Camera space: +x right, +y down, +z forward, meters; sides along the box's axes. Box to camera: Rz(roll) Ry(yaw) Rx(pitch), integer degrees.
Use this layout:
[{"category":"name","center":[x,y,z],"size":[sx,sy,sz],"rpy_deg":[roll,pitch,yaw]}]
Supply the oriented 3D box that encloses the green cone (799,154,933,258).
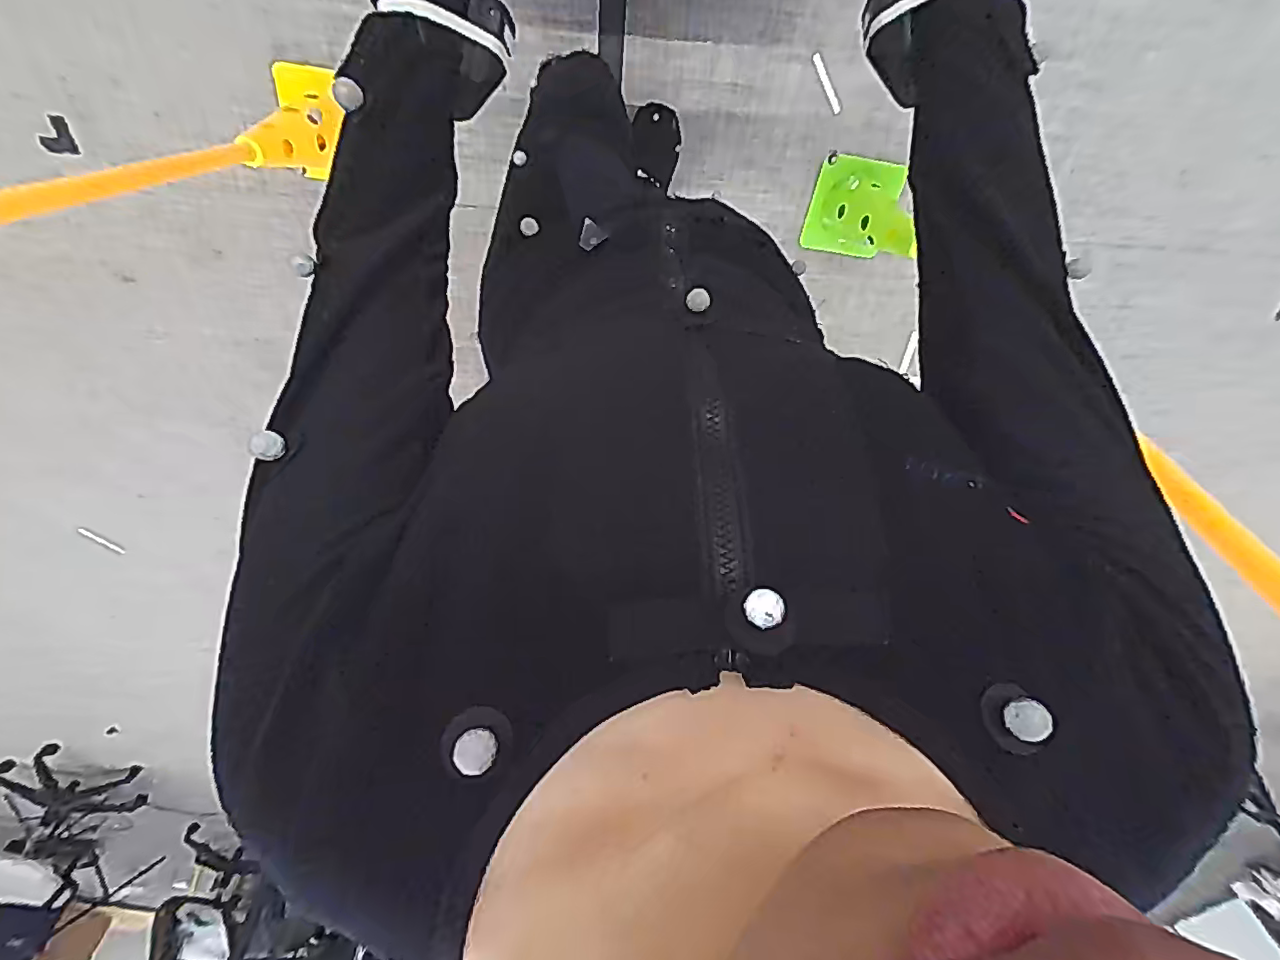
[{"category":"green cone","center":[0.498,-0.530,1.124],"size":[0.202,0.368,0.200],"rpy_deg":[4,128,-8]}]
